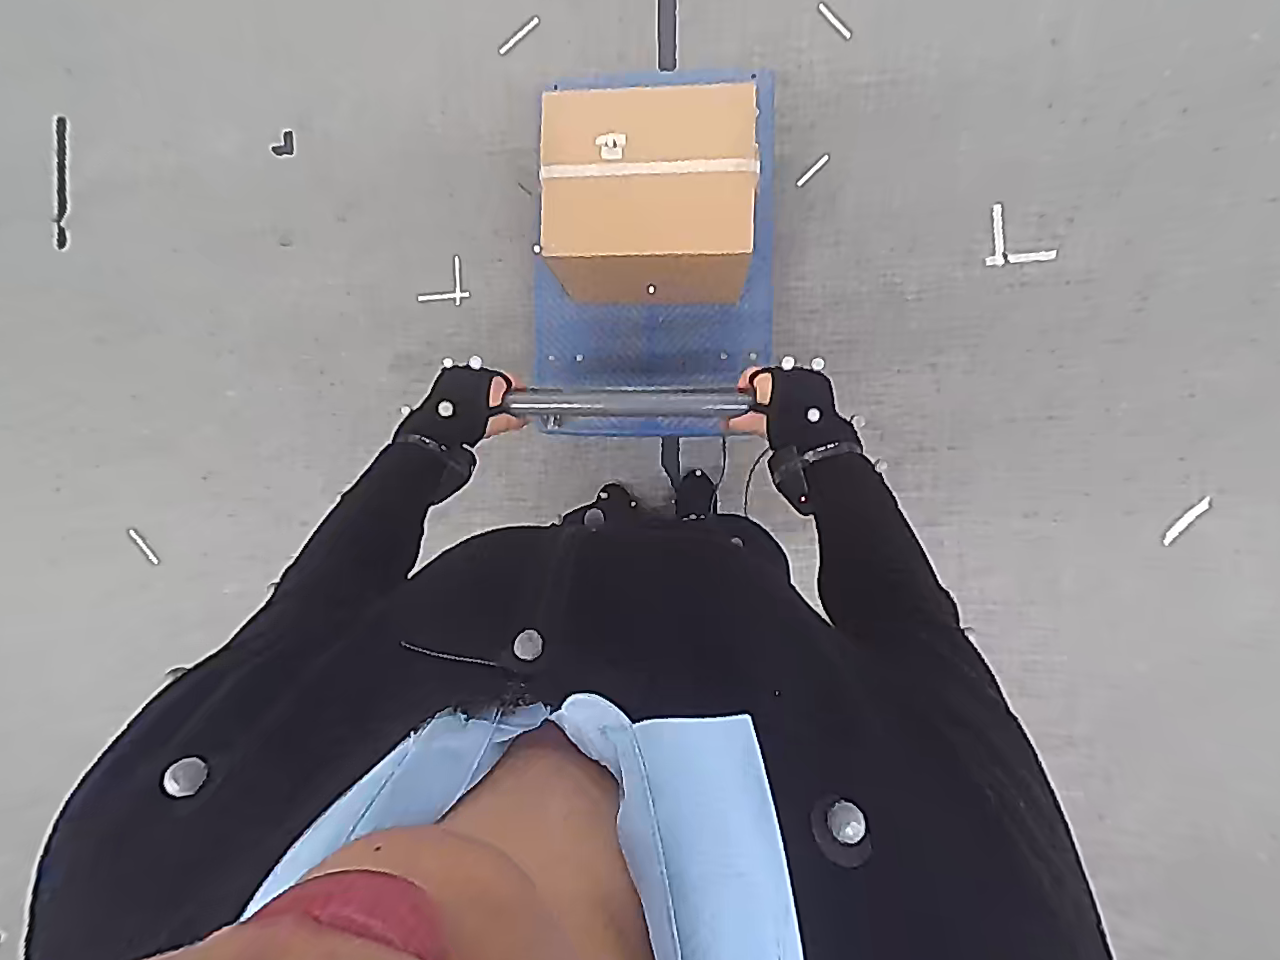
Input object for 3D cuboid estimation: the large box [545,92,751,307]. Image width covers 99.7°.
[{"bbox_3d":[0.028,-0.580,1.185,0.408,0.320,0.320,1,90,6],"label":"large box"}]
